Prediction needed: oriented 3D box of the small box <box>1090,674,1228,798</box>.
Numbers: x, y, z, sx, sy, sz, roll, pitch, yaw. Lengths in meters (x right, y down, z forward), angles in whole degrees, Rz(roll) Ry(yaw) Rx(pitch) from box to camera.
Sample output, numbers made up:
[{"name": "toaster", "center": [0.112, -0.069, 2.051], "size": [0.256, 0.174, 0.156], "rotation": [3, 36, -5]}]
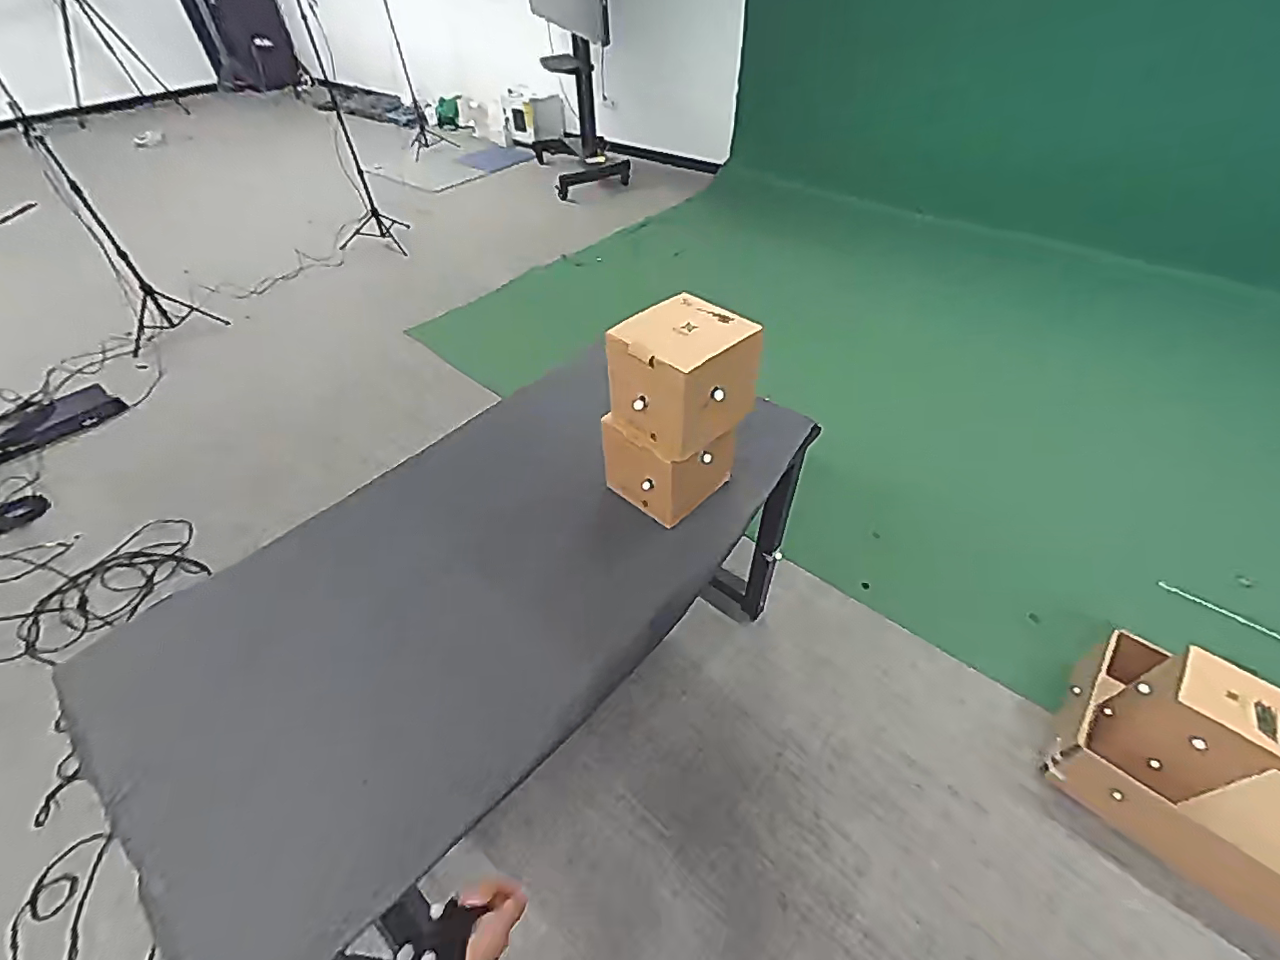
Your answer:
[{"name": "small box", "center": [1.196, 0.594, 1.249], "size": [0.179, 0.176, 0.168], "rotation": [33, 56, 27]}]

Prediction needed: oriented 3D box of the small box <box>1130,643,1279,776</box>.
[{"name": "small box", "center": [1.190, 0.484, 1.127], "size": [0.179, 0.176, 0.168], "rotation": [33, 56, 29]}]

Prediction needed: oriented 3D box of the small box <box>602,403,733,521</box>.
[{"name": "small box", "center": [0.053, -0.058, 0.970], "size": [0.168, 0.176, 0.179], "rotation": [34, 55, 29]}]

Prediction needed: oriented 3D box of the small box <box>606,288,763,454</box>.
[{"name": "small box", "center": [0.069, -0.171, 0.851], "size": [0.179, 0.176, 0.168], "rotation": [-35, 54, -27]}]
